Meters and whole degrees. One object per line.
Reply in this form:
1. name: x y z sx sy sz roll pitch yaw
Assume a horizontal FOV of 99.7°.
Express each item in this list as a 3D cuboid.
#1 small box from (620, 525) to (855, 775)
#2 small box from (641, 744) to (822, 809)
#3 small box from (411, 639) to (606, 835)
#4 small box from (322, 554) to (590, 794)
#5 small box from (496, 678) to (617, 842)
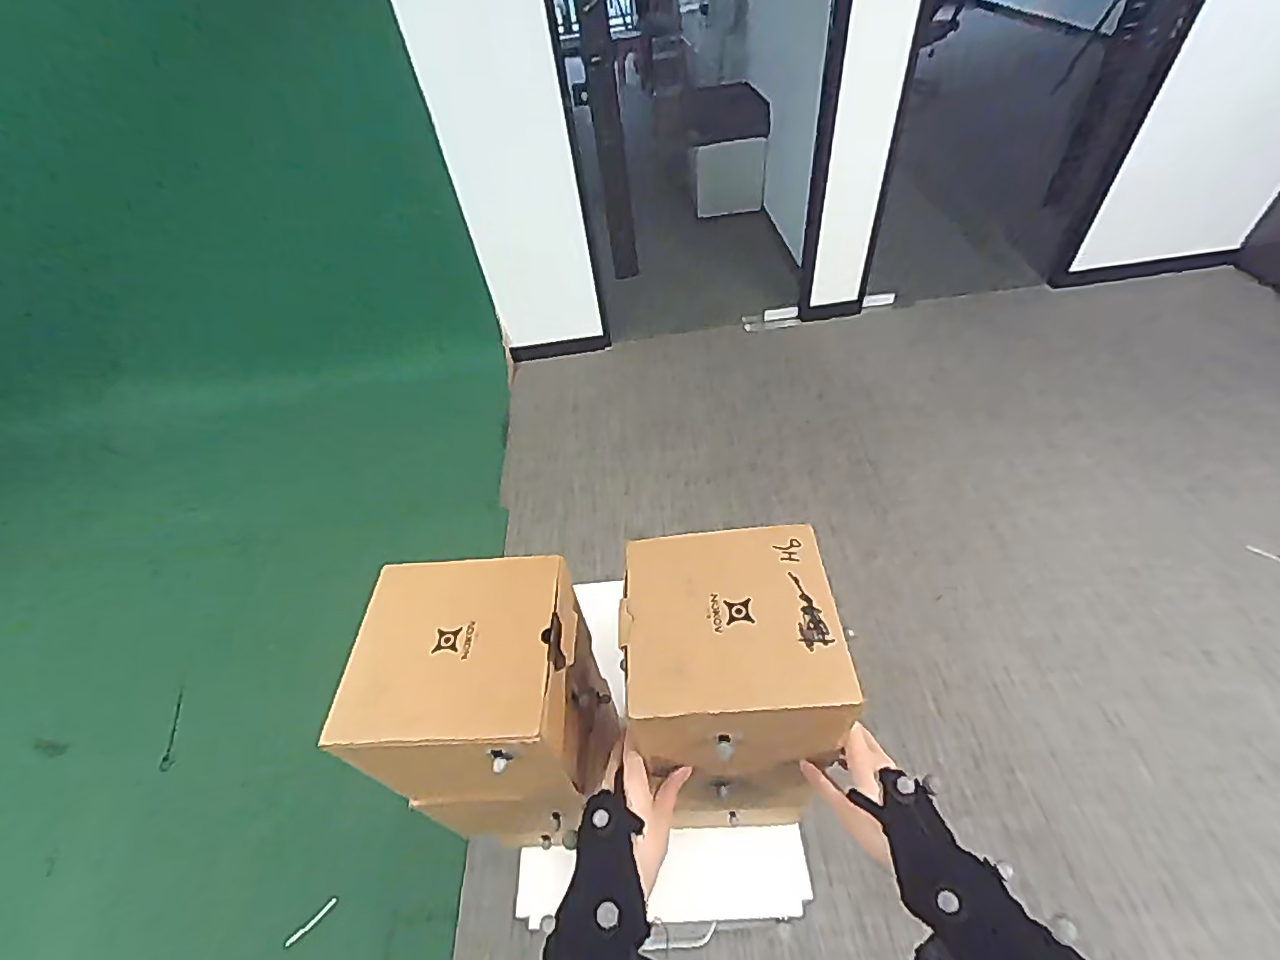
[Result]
1. small box: 0.082 0.164 0.507 0.179 0.176 0.168 -7 48 5
2. small box: 0.098 0.273 0.629 0.179 0.176 0.168 -5 48 5
3. small box: -0.134 0.303 0.635 0.179 0.176 0.168 -6 47 2
4. small box: -0.151 0.190 0.519 0.179 0.176 0.168 -3 47 3
5. small box: -0.121 0.400 0.765 0.168 0.176 0.179 -4 48 1
